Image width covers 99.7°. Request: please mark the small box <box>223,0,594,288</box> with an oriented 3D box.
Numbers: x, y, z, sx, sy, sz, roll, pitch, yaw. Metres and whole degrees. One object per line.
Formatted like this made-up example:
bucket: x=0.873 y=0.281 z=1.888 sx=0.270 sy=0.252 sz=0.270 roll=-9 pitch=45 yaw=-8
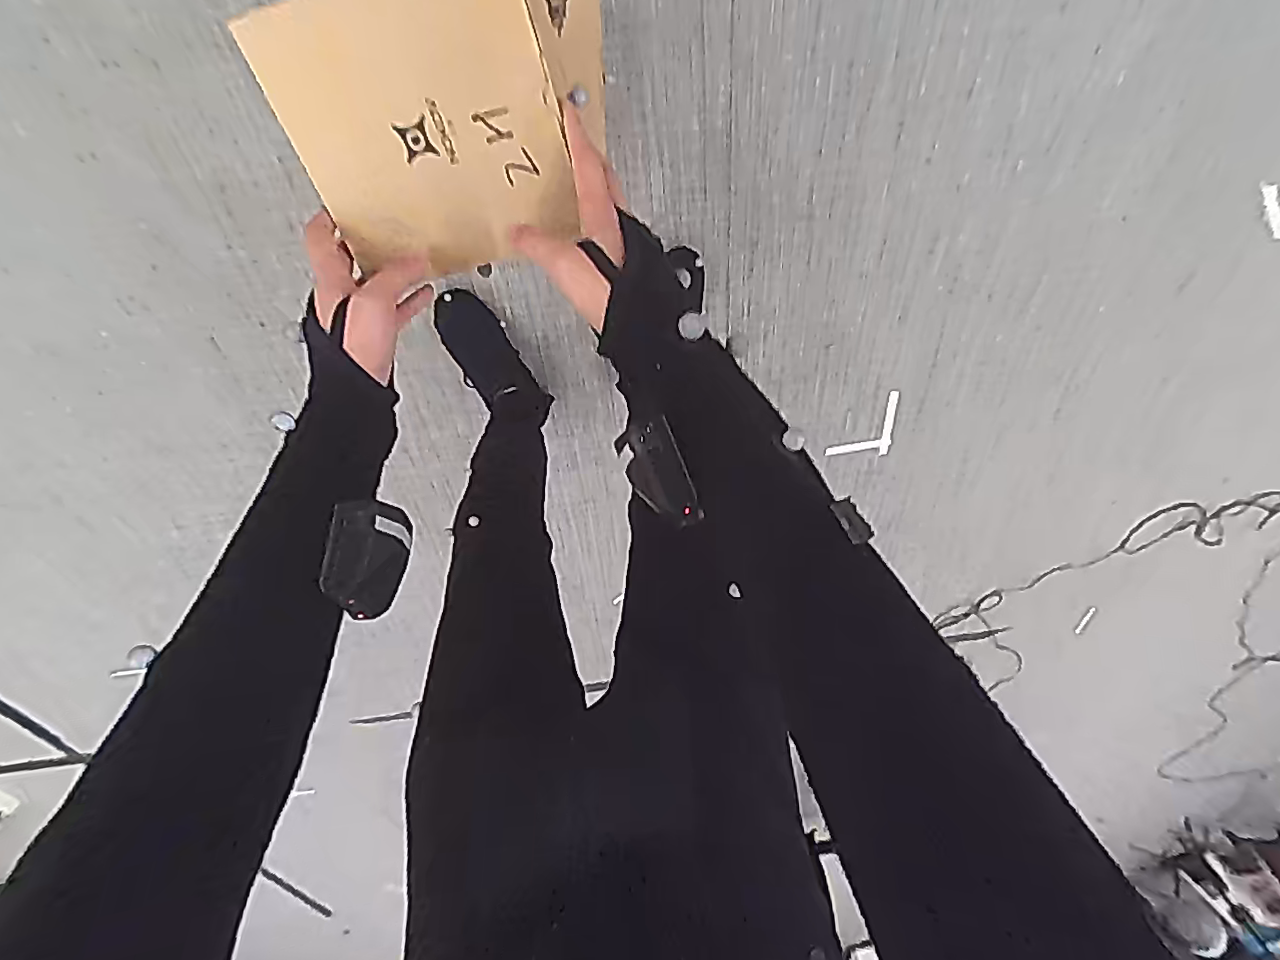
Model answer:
small box: x=-0.140 y=-0.266 z=0.407 sx=0.179 sy=0.176 sz=0.168 roll=-13 pitch=125 yaw=5
